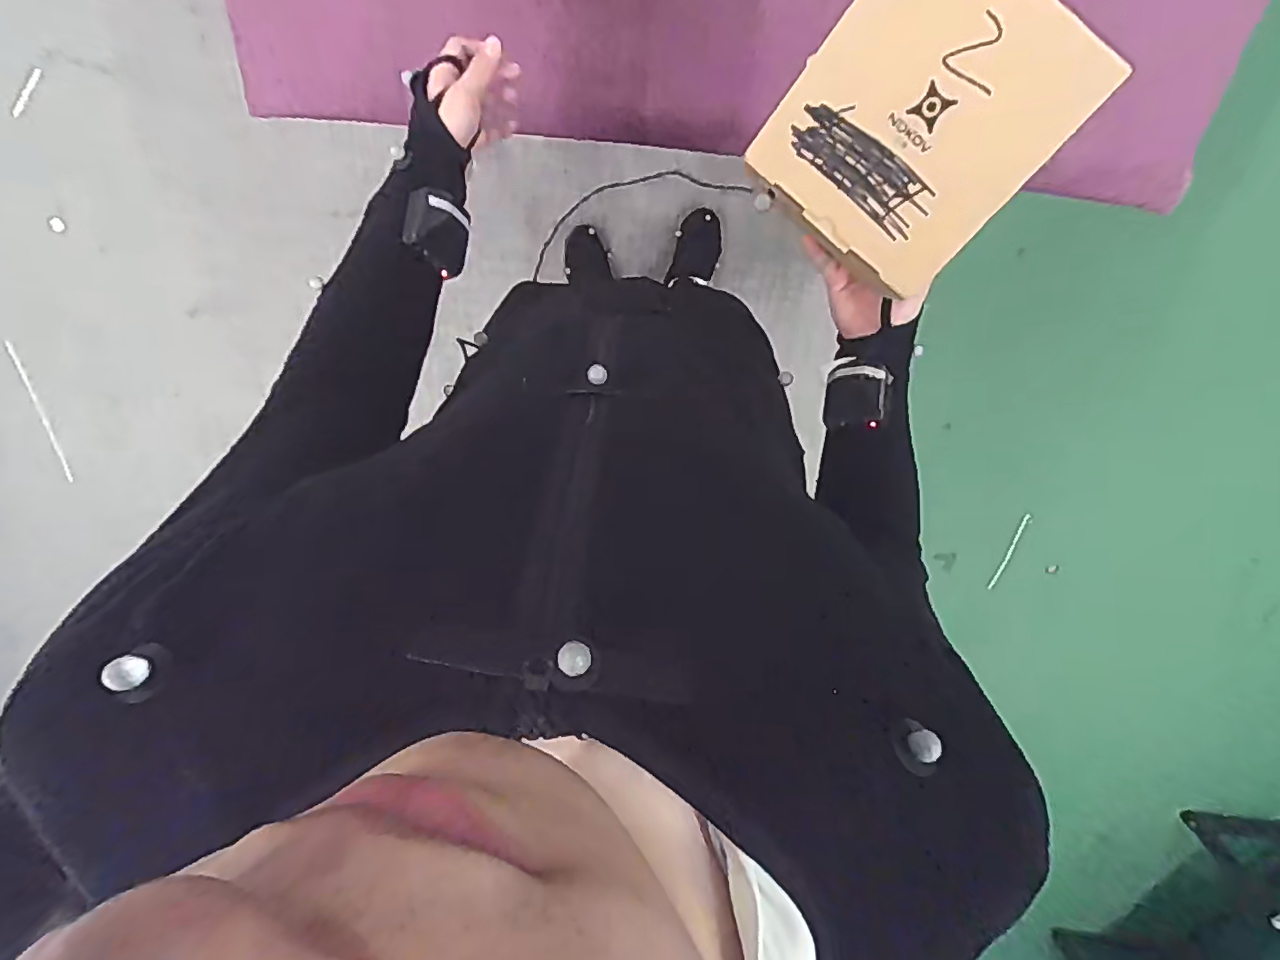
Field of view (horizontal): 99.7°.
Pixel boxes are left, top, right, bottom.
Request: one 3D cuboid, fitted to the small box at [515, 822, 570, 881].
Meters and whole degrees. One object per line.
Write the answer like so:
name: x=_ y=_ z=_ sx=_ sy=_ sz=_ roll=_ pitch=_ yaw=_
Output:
small box: x=-0.339 y=1.336 z=1.885 sx=0.168 sy=0.176 sz=0.179 roll=7 pitch=116 yaw=-3
